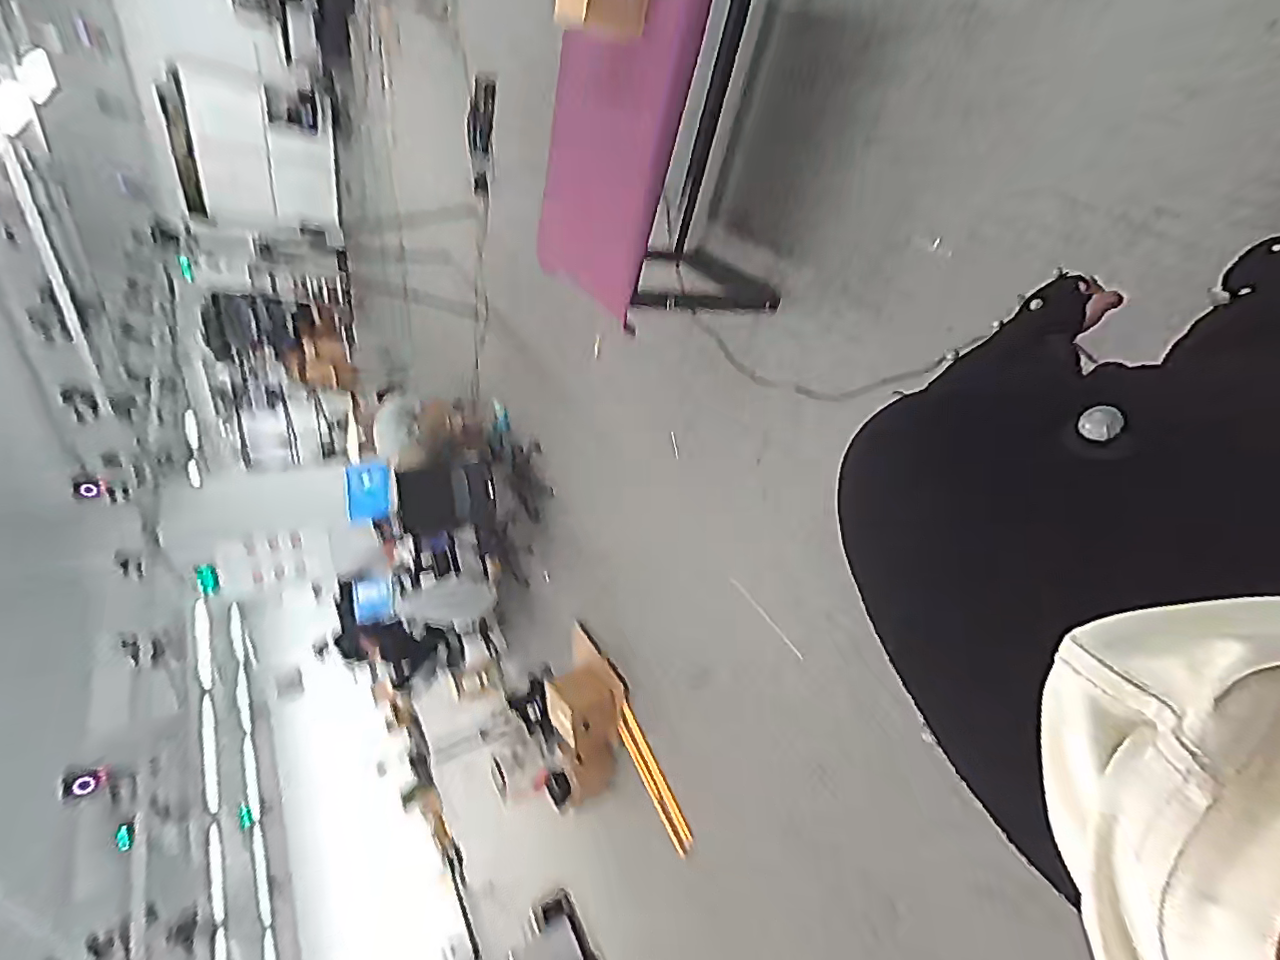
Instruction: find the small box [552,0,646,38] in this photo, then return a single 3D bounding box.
[{"bbox_3d":[-0.095,-1.218,1.331,0.179,0.176,0.168,46,135,39],"label":"small box"}]
